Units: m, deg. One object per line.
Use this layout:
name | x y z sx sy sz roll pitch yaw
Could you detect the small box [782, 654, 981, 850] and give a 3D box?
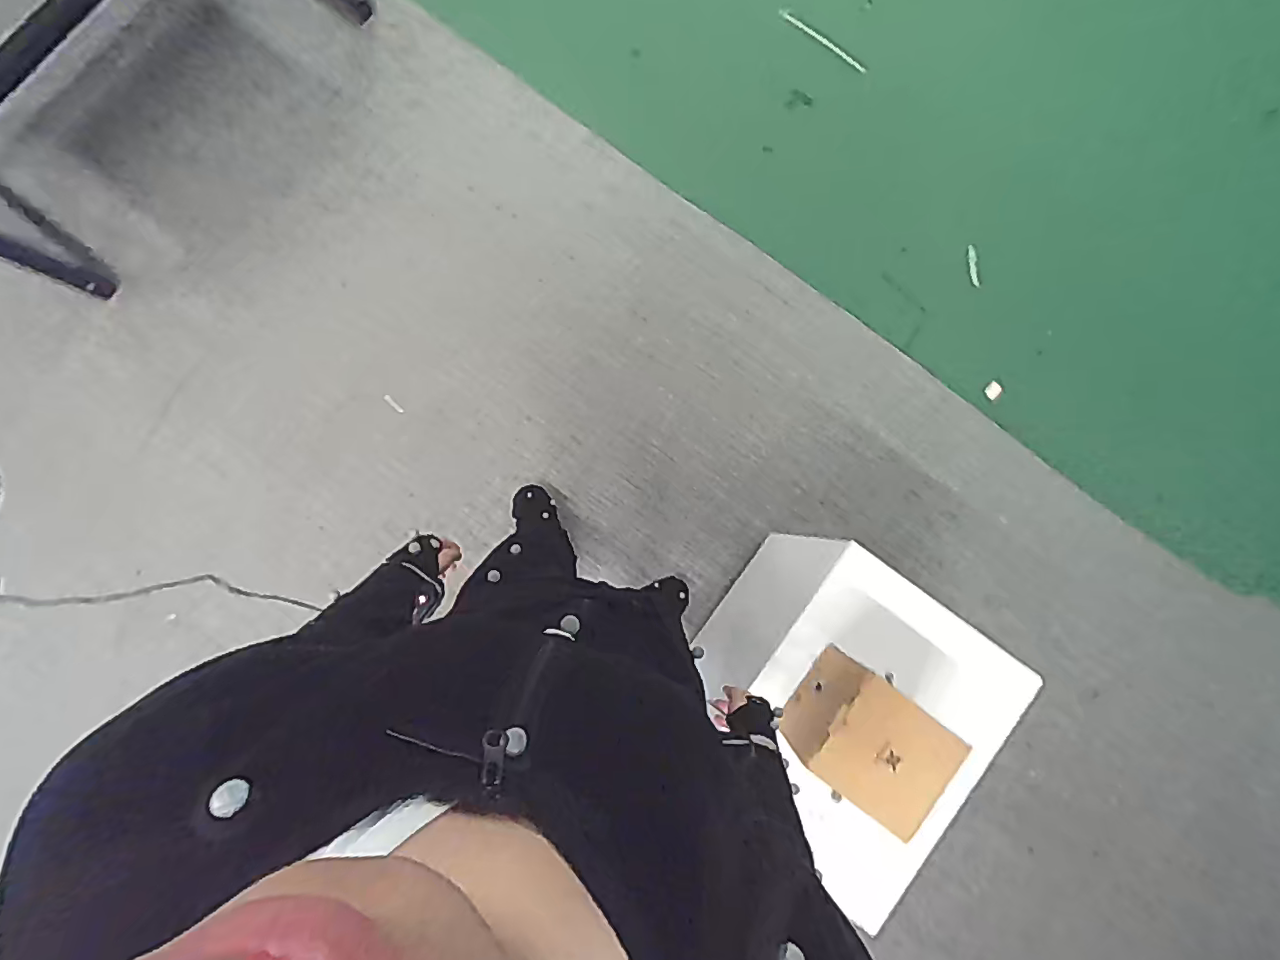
small box | 0.345 0.387 0.808 0.179 0.176 0.168 37 86 1
